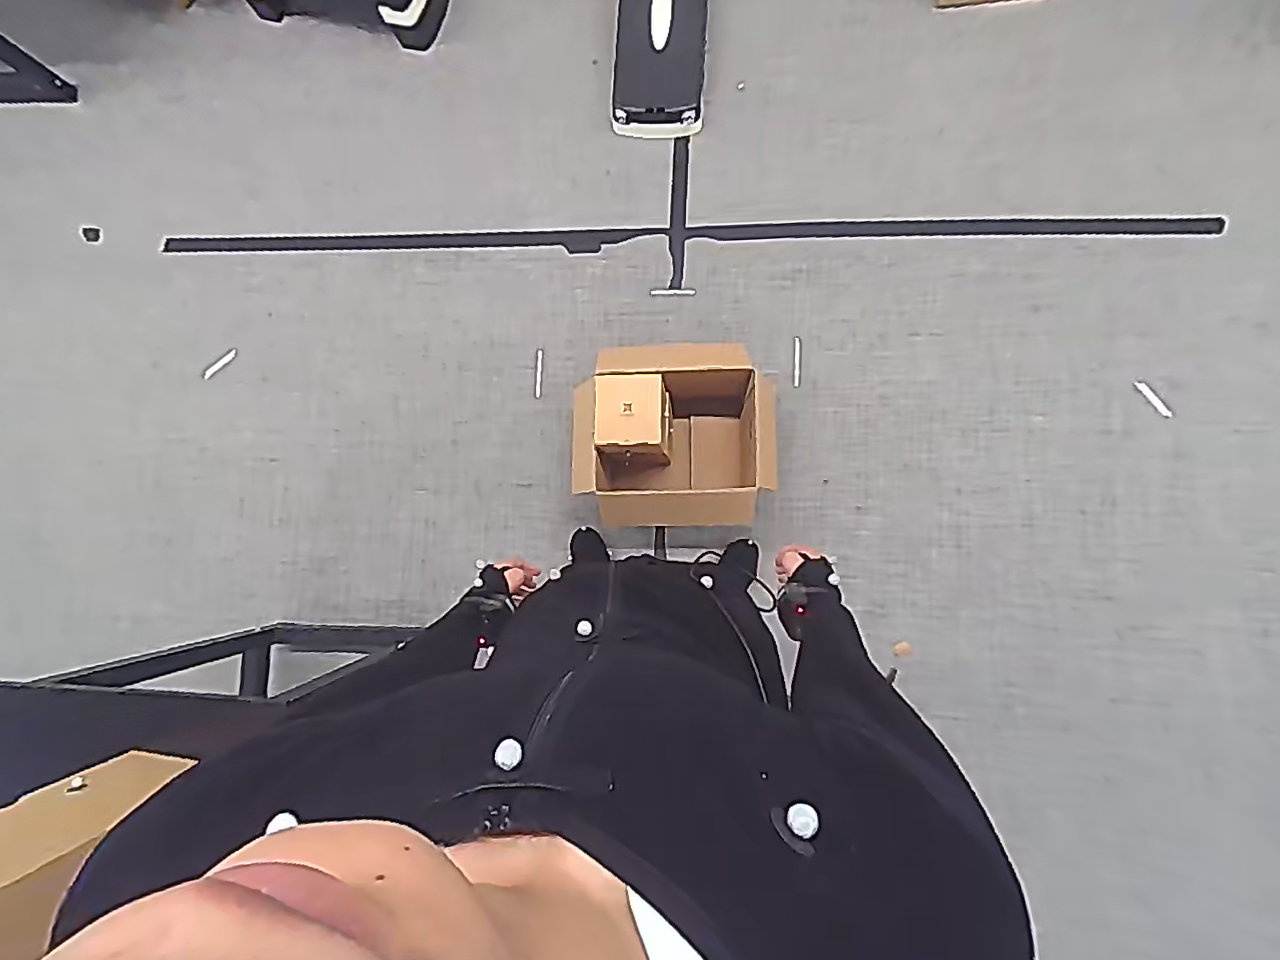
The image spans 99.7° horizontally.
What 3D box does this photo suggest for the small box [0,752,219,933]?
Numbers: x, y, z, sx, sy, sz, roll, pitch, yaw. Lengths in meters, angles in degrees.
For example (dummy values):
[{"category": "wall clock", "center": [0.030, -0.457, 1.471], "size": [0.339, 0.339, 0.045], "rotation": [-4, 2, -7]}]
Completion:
[{"category": "small box", "center": [-0.827, 0.555, 0.855], "size": [0.179, 0.176, 0.168], "rotation": [6, 87, 5]}]
